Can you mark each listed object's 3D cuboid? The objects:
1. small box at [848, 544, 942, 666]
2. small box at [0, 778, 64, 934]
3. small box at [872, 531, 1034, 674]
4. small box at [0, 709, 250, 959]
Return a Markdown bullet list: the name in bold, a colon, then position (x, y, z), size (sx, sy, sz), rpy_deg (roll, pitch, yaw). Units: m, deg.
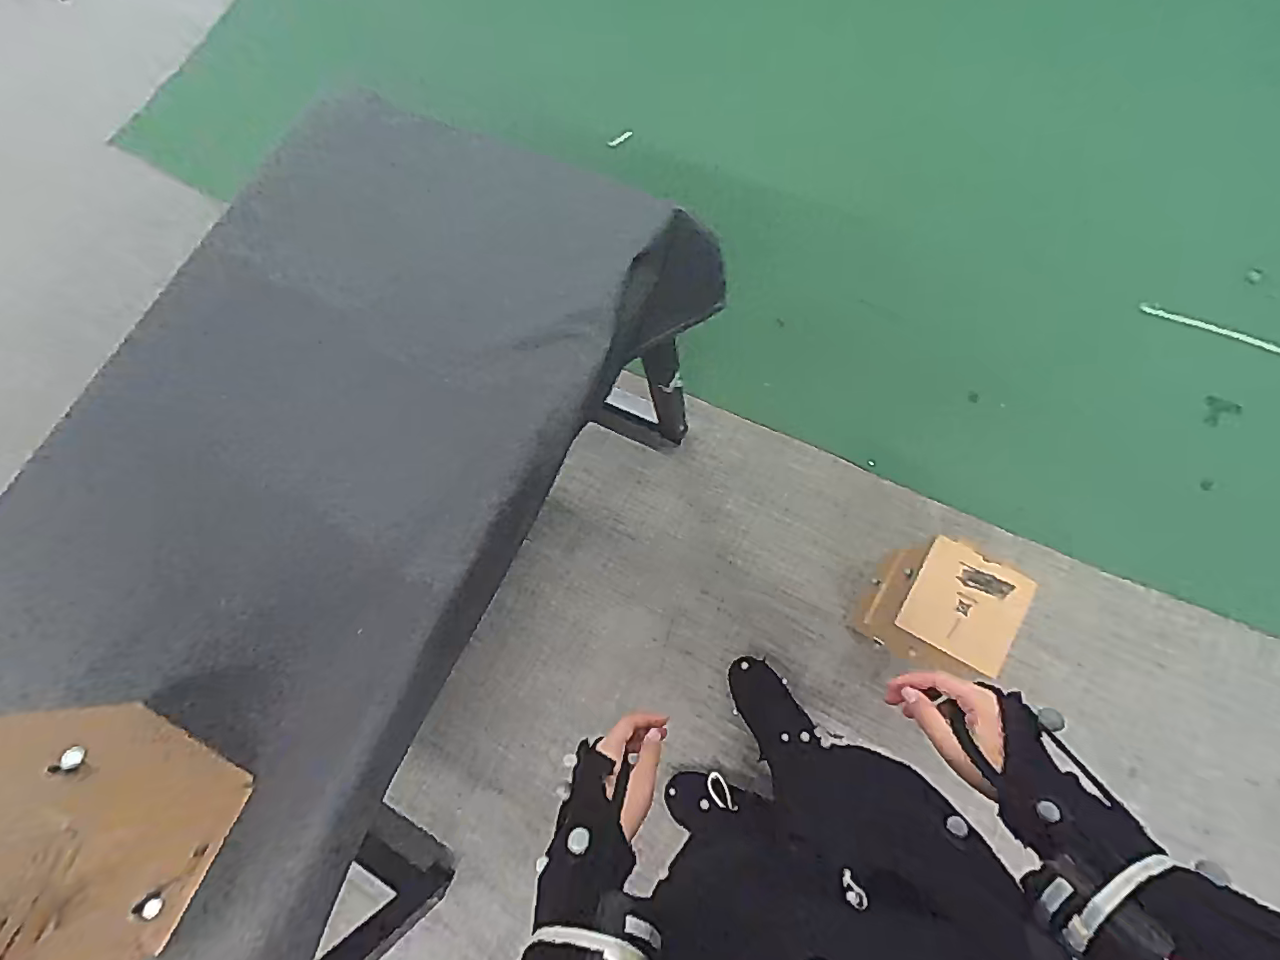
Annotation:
- **small box**: position (0.552, 0.257, 1.113), size (0.168, 0.176, 0.179), rpy_deg (29, 81, 15)
- **small box**: position (-0.522, 0.267, 0.315), size (0.179, 0.176, 0.168), rpy_deg (21, 77, 12)
- **small box**: position (0.536, 0.216, 0.954), size (0.168, 0.176, 0.179), rpy_deg (29, 80, 16)
- **small box**: position (-0.506, 0.317, 0.471), size (0.179, 0.176, 0.168), rpy_deg (22, 77, 13)
